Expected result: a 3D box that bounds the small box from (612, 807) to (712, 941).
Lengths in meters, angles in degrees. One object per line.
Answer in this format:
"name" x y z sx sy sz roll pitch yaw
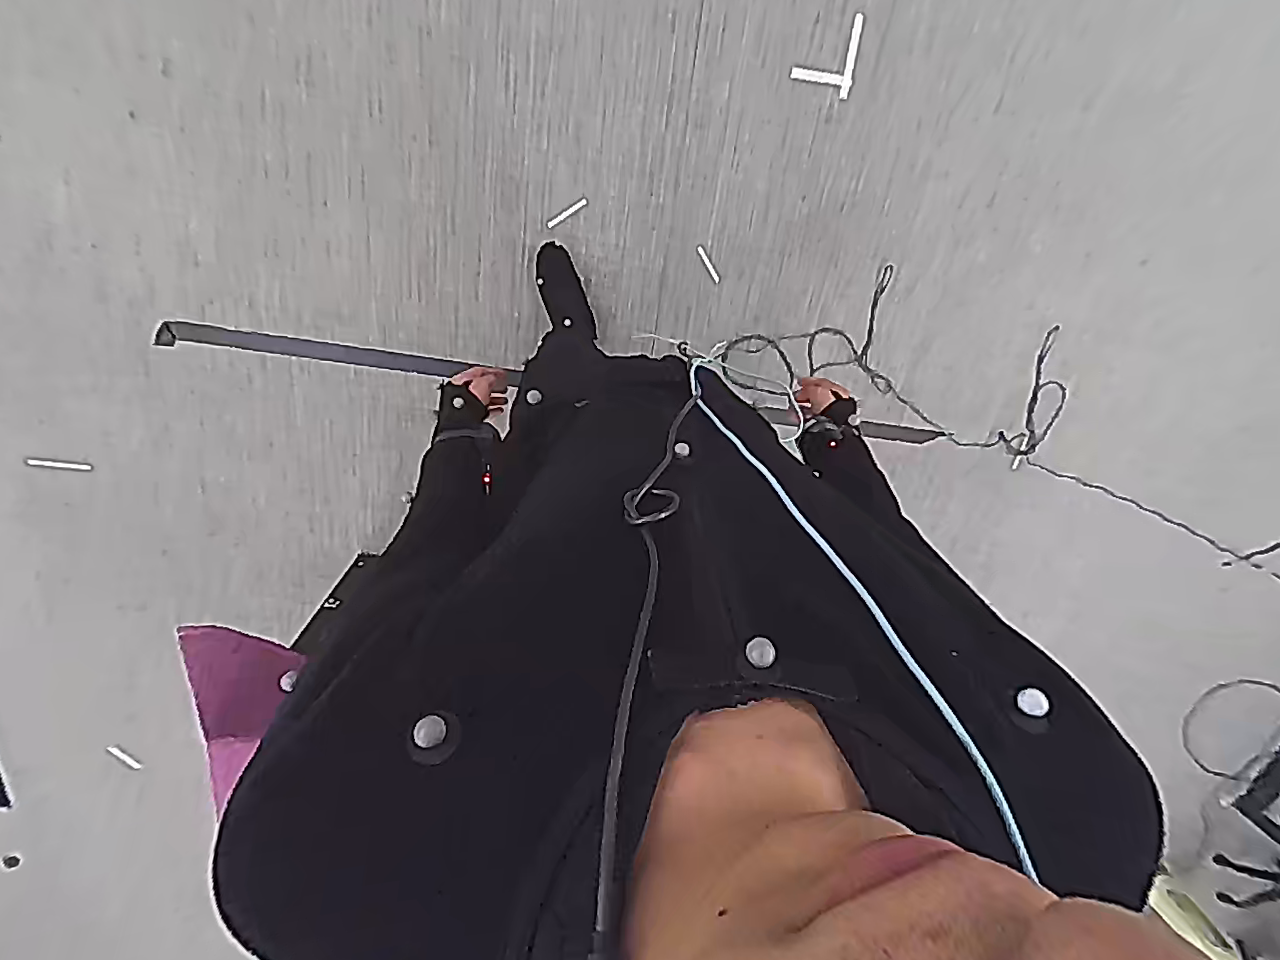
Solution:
"small box" 0.037 0.827 1.143 0.168 0.176 0.179 9 110 -9
